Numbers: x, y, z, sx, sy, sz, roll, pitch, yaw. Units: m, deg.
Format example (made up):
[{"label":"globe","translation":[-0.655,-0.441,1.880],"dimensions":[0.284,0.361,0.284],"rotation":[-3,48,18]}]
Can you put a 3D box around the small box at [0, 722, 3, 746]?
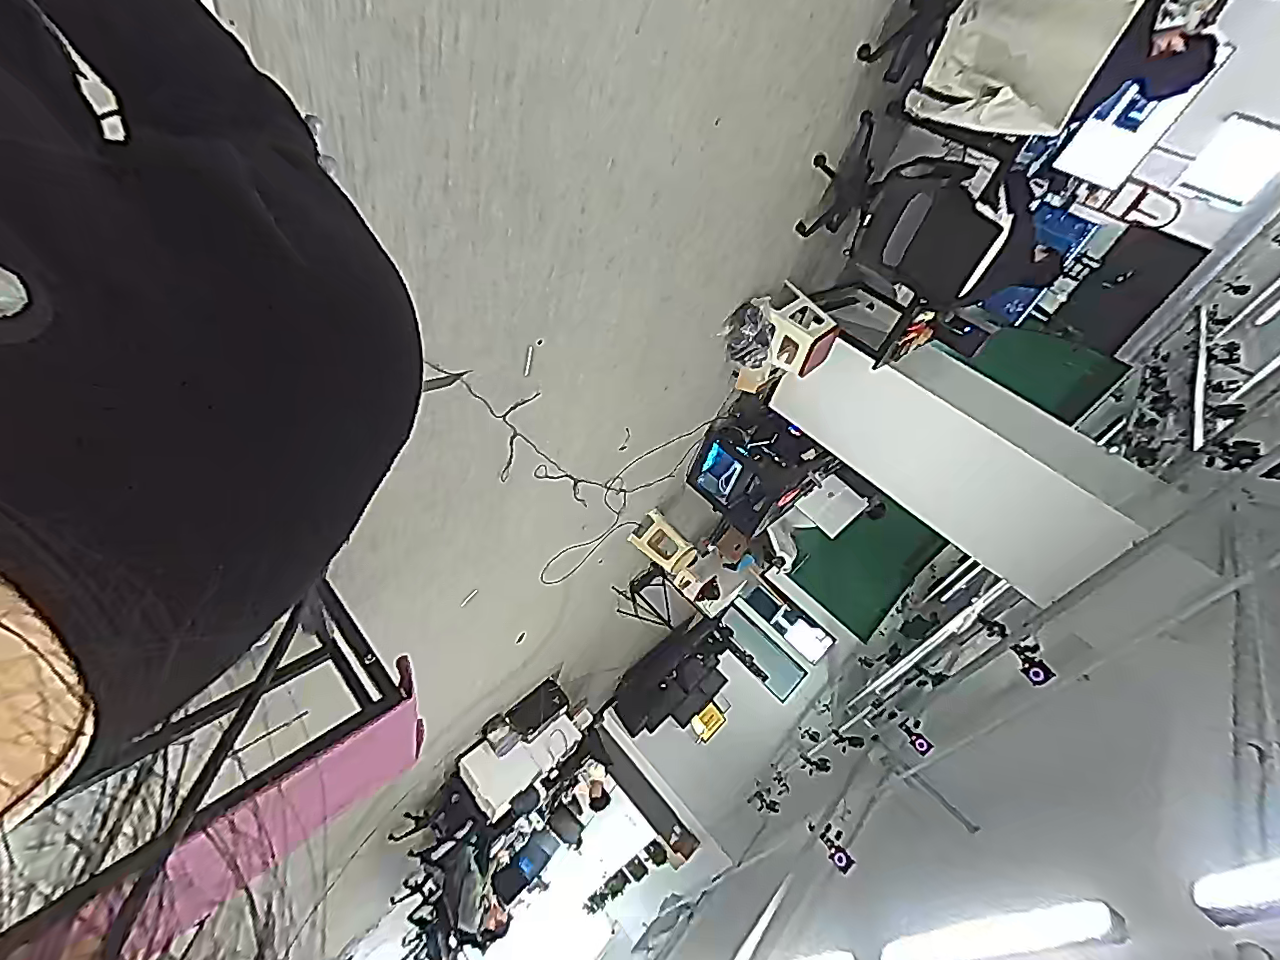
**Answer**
[{"label":"small box","translation":[-1.812,0.626,1.403],"dimensions":[0.179,0.176,0.168],"rotation":[-15,140,-55]}]

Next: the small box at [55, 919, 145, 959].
[{"label":"small box","translation":[-1.345,1.239,1.325],"dimensions":[0.179,0.176,0.168],"rotation":[-27,151,-42]}]
